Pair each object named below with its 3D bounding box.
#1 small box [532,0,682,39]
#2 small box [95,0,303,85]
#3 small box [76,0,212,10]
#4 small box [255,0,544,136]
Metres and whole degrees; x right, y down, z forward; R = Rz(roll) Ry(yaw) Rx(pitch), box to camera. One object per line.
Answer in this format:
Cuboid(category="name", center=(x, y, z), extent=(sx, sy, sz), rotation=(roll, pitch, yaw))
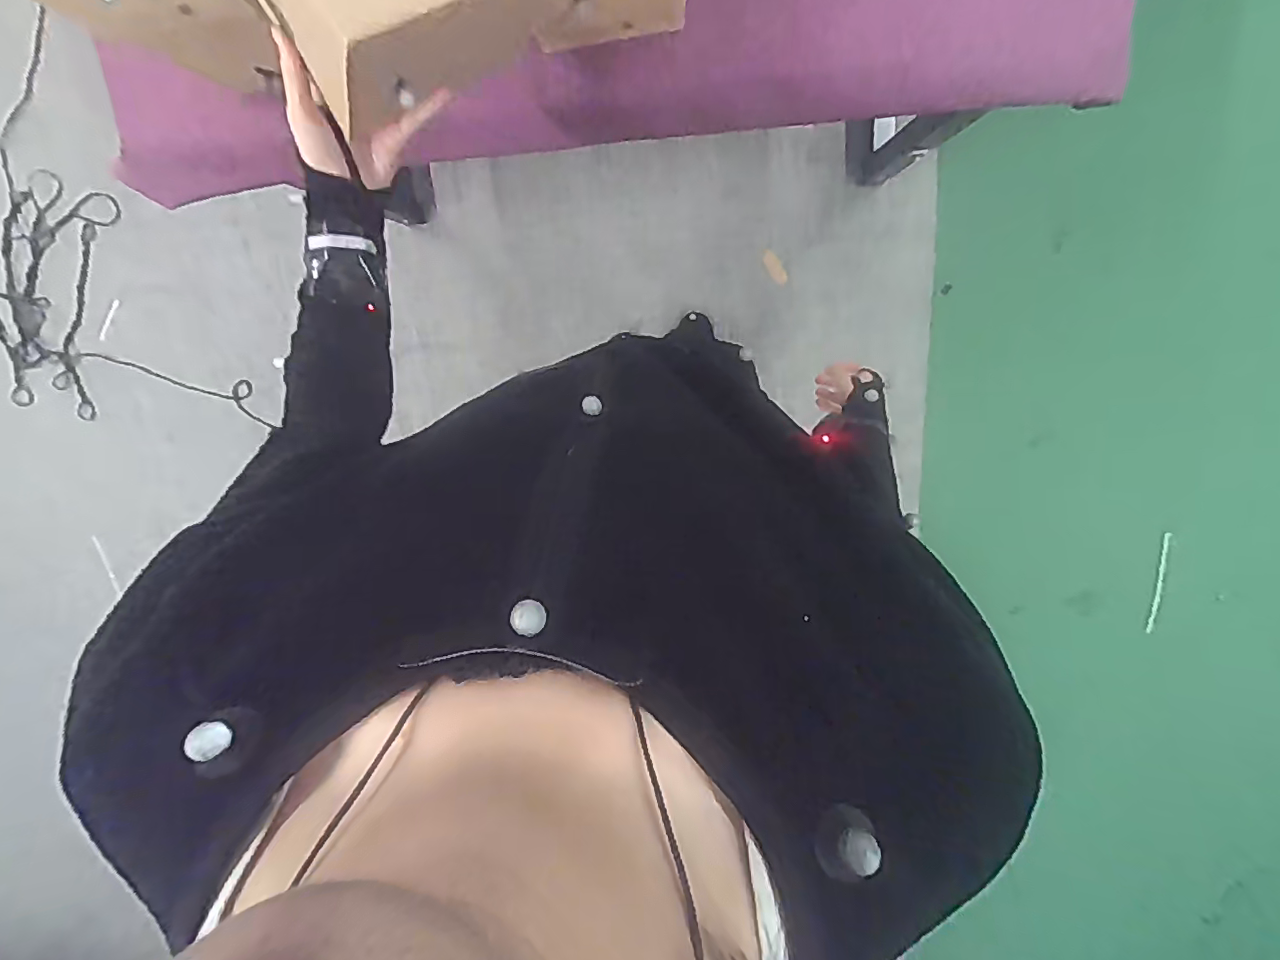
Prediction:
Cuboid(category="small box", center=(-0.047, -0.570, 0.525), extent=(0.168, 0.176, 0.179), rotation=(-5, 104, 5))
Cuboid(category="small box", center=(-0.434, -0.549, 0.555), extent=(0.168, 0.176, 0.179), rotation=(-5, 106, 5))
Cuboid(category="small box", center=(-0.442, -0.493, 0.401), extent=(0.168, 0.176, 0.179), rotation=(-3, 106, 5))
Cuboid(category="small box", center=(-0.173, -0.366, 0.349), extent=(0.176, 0.179, 0.168), rotation=(-37, 118, -14))
